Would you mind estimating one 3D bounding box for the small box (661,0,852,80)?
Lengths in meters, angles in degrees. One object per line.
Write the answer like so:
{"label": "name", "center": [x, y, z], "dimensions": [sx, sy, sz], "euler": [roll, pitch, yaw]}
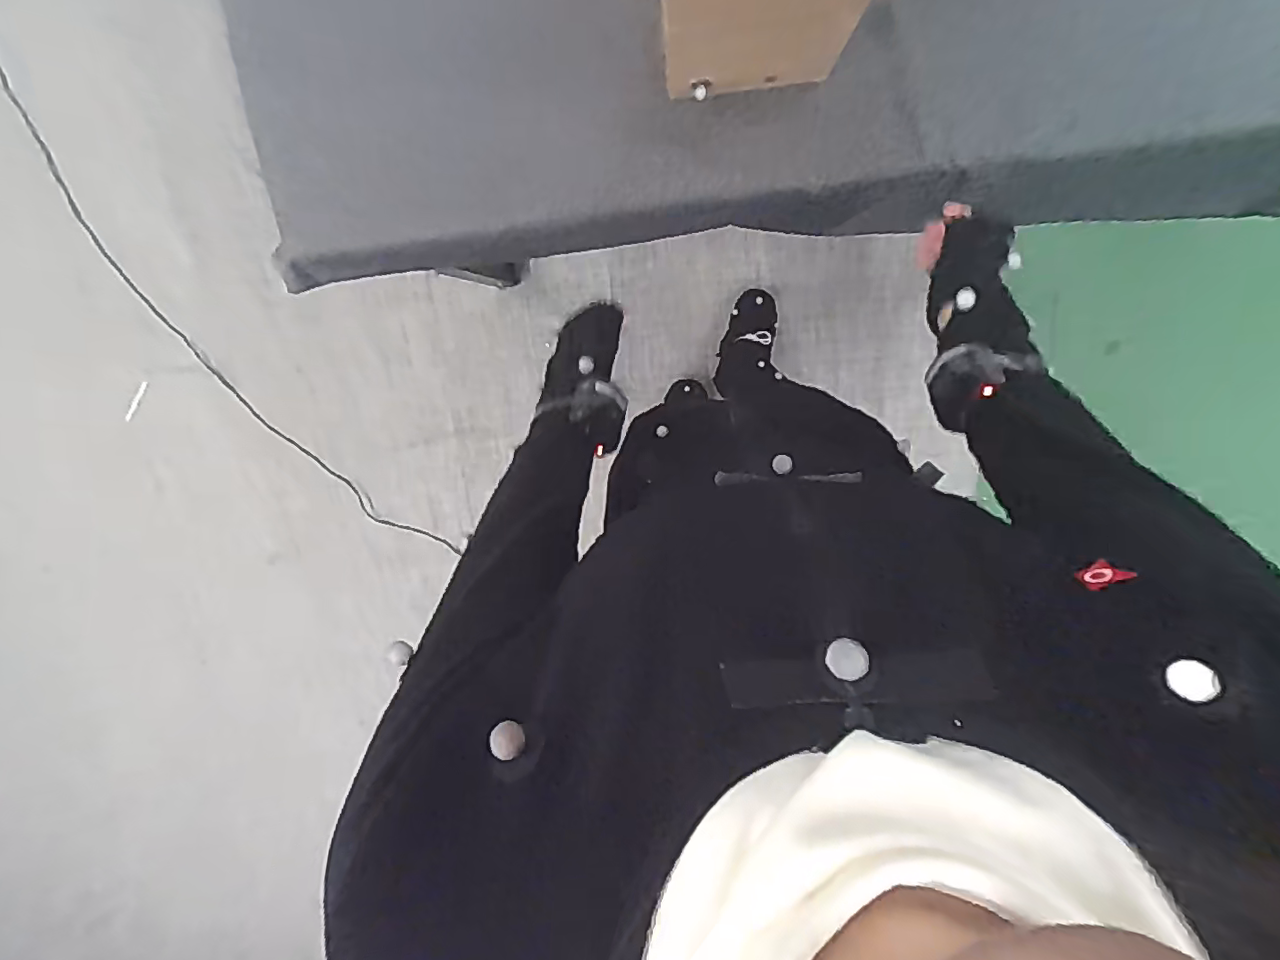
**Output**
{"label": "small box", "center": [0.100, -0.483, 0.473], "dimensions": [0.168, 0.176, 0.179], "euler": [-3, 104, 5]}
